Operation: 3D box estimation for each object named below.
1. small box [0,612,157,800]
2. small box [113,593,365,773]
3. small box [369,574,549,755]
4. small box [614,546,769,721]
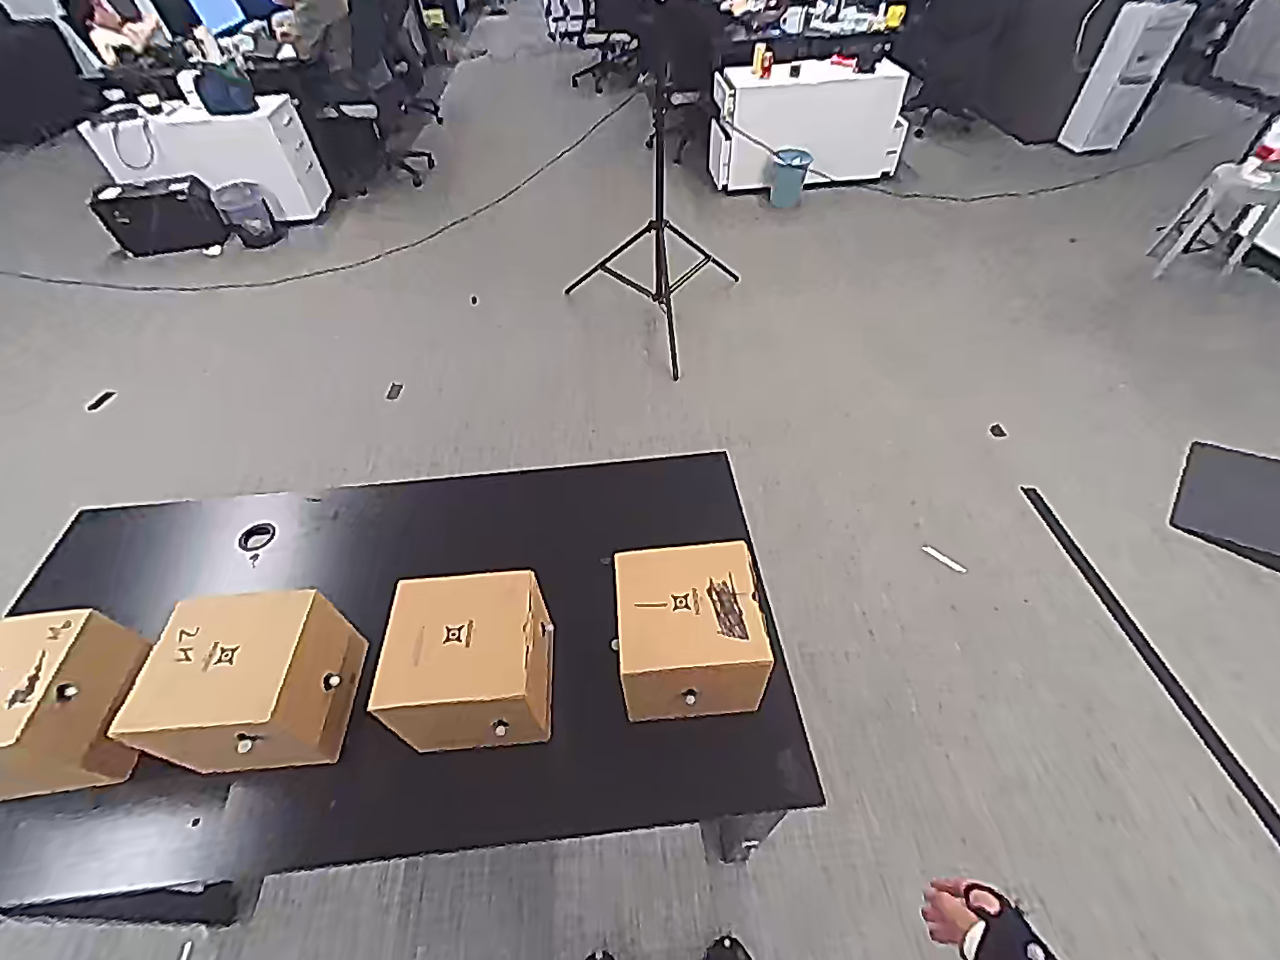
[{"bbox_3d":[-0.761,0.291,0.689,0.179,0.176,0.168,-7,49,-3],"label":"small box"},{"bbox_3d":[-0.489,0.264,0.699,0.179,0.176,0.168,-5,48,-1],"label":"small box"},{"bbox_3d":[-0.216,0.244,0.707,0.179,0.176,0.168,-5,47,-2],"label":"small box"},{"bbox_3d":[0.060,0.207,0.722,0.179,0.176,0.168,-5,48,0],"label":"small box"}]
